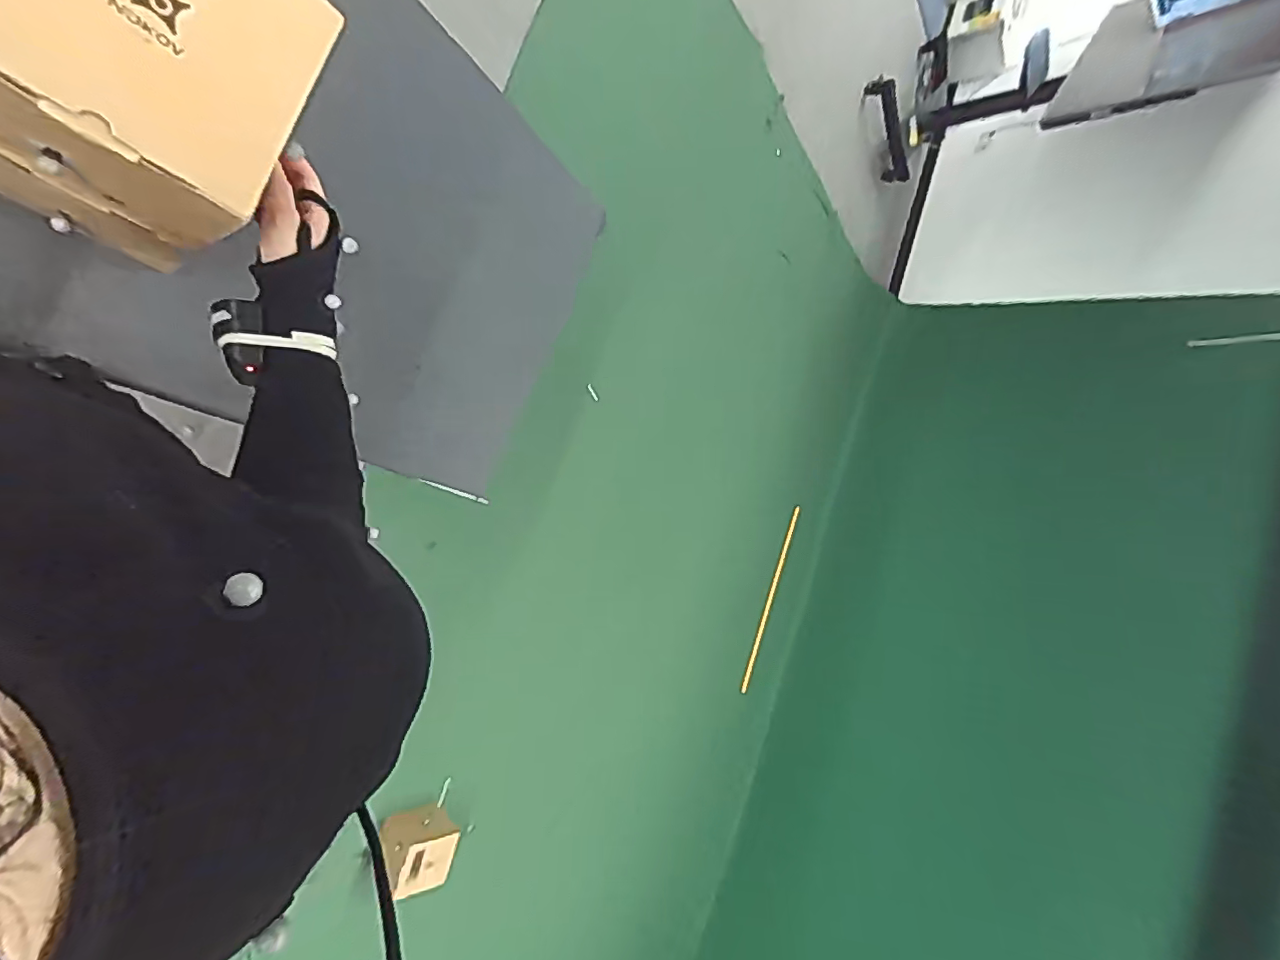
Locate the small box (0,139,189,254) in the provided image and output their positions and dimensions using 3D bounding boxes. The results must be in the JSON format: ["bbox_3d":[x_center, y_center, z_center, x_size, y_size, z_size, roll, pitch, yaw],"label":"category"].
[{"bbox_3d":[-0.483,-0.328,0.477,0.168,0.176,0.179,29,78,-49],"label":"small box"}]

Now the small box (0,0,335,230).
[{"bbox_3d":[-0.358,-0.305,0.376,0.168,0.176,0.179,29,78,-50],"label":"small box"}]
